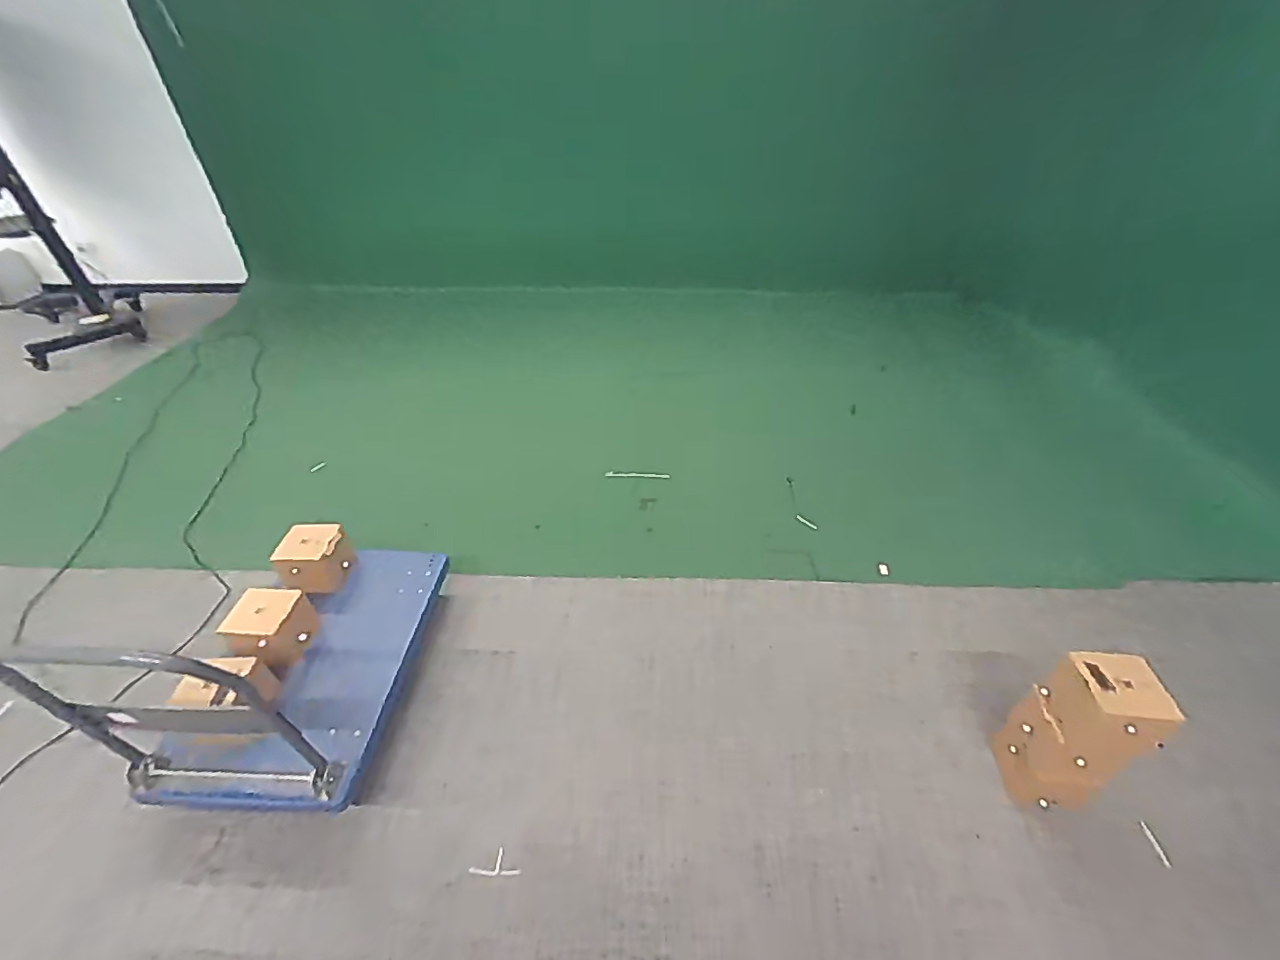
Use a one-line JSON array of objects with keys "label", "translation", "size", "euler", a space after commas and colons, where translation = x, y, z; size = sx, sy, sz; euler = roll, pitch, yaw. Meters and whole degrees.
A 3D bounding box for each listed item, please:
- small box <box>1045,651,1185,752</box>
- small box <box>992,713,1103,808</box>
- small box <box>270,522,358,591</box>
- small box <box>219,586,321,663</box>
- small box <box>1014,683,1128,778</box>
[{"label": "small box", "translation": [1.130, 0.538, 1.311], "size": [0.179, 0.176, 0.168], "euler": [3, 39, 5]}, {"label": "small box", "translation": [1.131, 0.790, 1.522], "size": [0.168, 0.176, 0.179], "euler": [4, 40, 6]}, {"label": "small box", "translation": [-1.128, 0.268, 1.885], "size": [0.179, 0.176, 0.168], "euler": [6, 43, 6]}, {"label": "small box", "translation": [-1.137, 0.449, 1.677], "size": [0.179, 0.176, 0.168], "euler": [3, 40, 2]}, {"label": "small box", "translation": [1.125, 0.660, 1.423], "size": [0.179, 0.176, 0.168], "euler": [3, 39, 7]}]
